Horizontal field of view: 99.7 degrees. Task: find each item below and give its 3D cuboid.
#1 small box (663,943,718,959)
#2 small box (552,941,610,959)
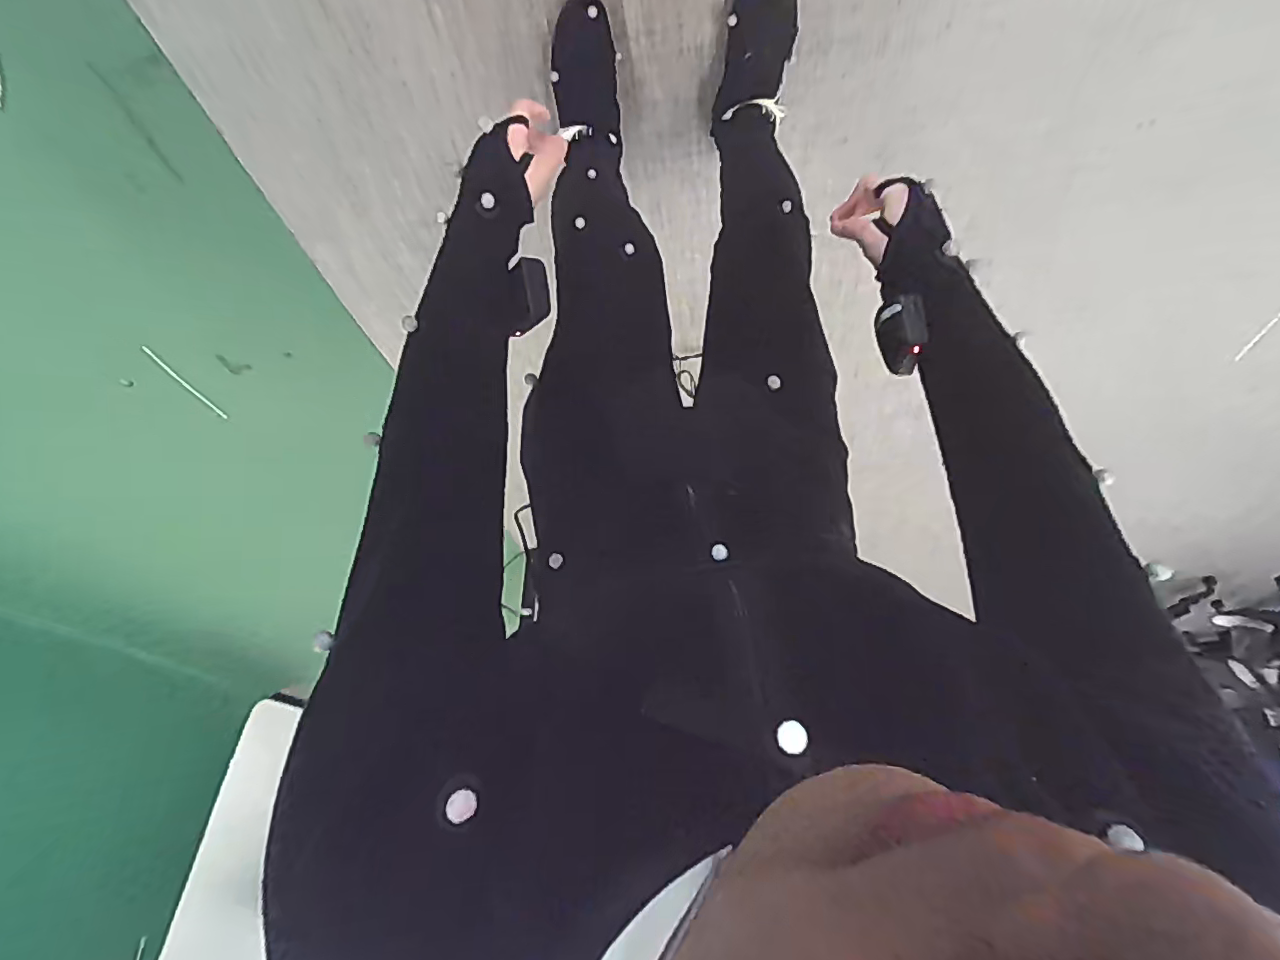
[{"bbox_3d":[0.168,1.642,1.774,0.179,0.176,0.168,-6,146,7],"label":"small box"},{"bbox_3d":[-0.200,1.676,1.820,0.179,0.176,0.168,-5,147,8],"label":"small box"}]
